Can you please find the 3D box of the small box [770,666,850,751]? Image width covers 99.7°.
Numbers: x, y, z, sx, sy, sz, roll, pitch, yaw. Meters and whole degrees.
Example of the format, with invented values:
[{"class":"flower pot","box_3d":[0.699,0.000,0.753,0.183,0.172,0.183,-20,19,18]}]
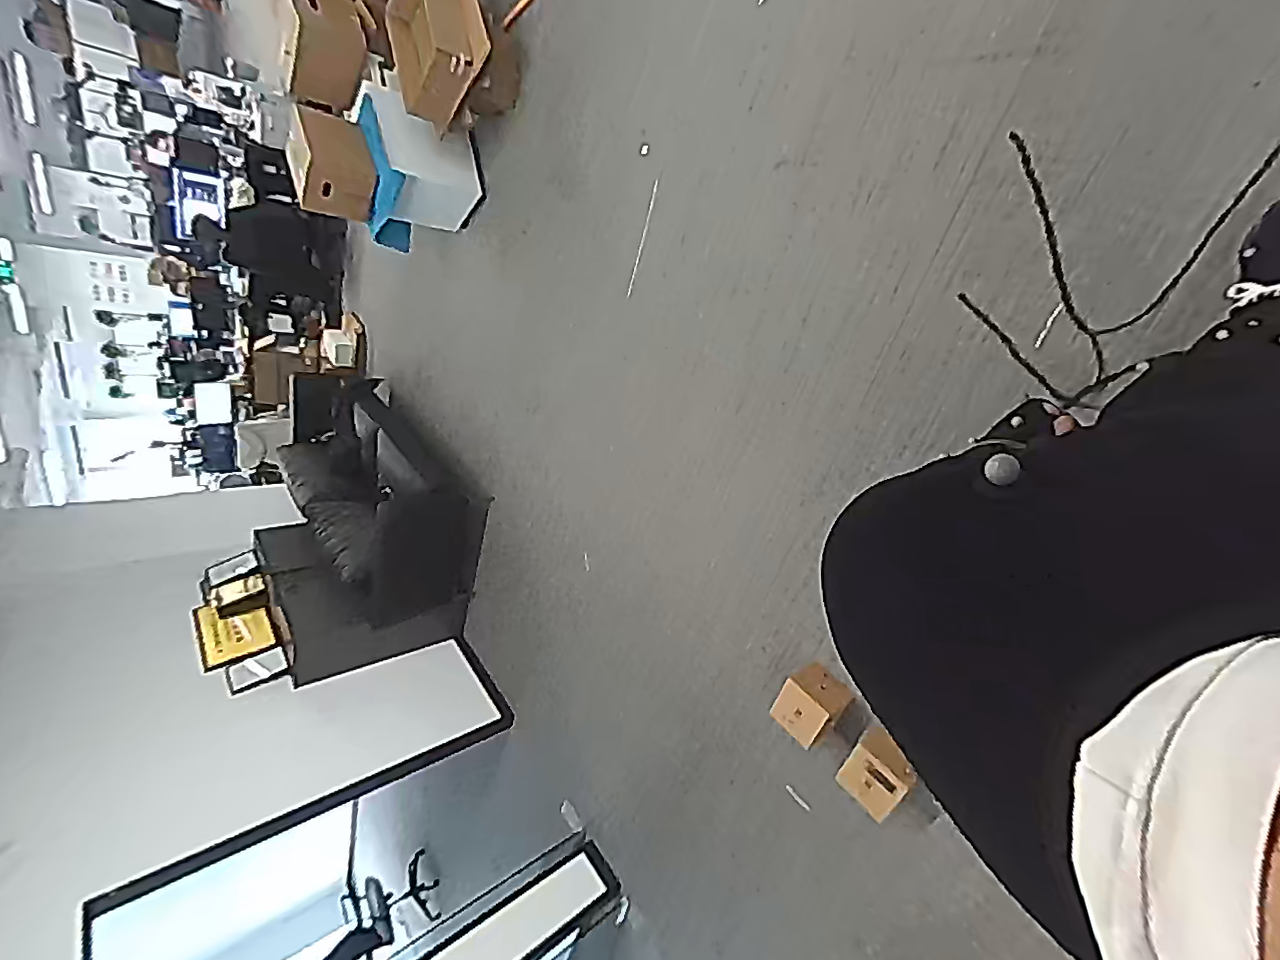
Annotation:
[{"class":"small box","box_3d":[0.575,0.755,1.807,0.168,0.176,0.179,39,123,37]}]
